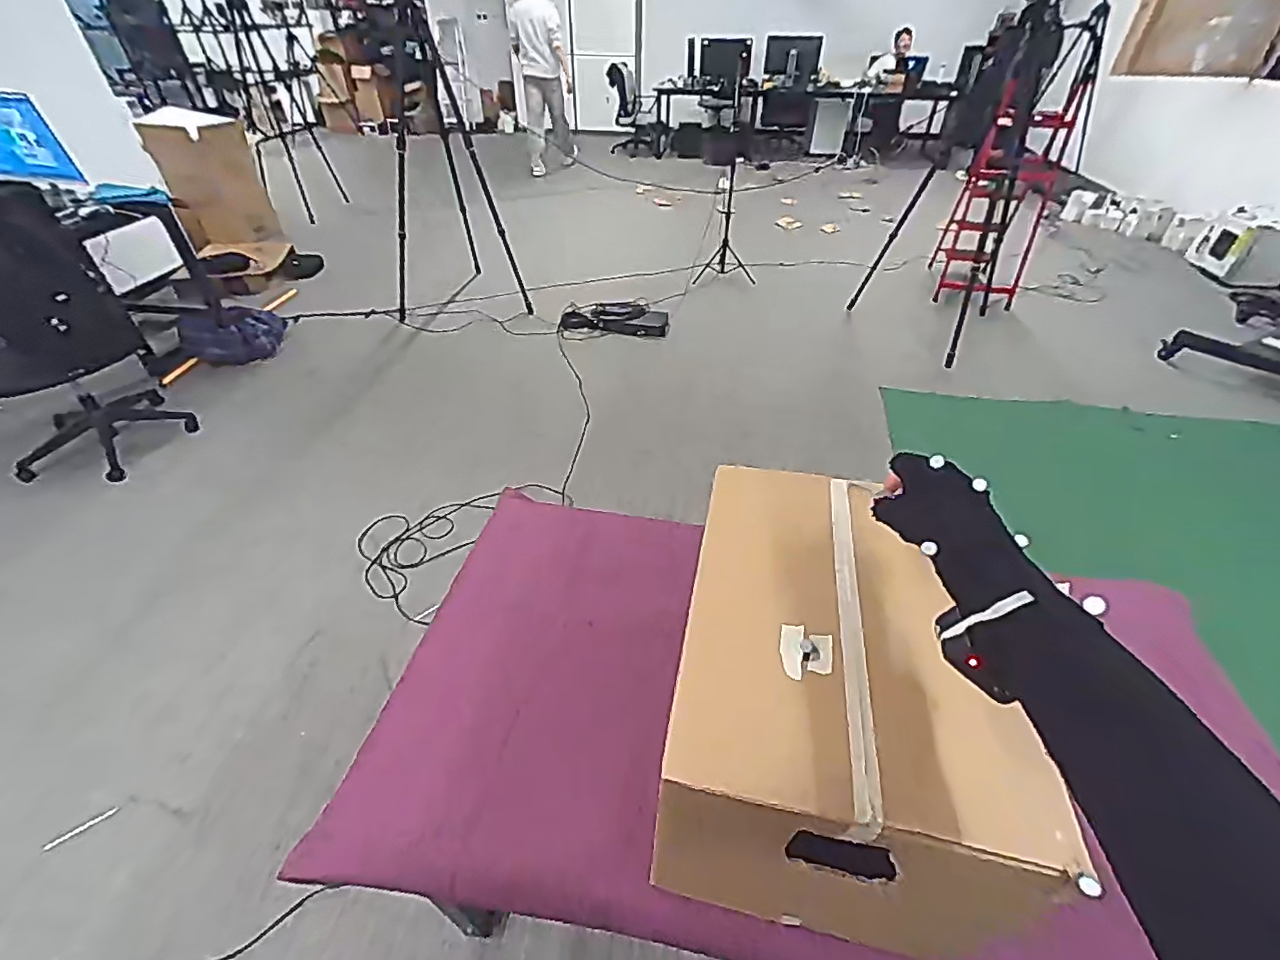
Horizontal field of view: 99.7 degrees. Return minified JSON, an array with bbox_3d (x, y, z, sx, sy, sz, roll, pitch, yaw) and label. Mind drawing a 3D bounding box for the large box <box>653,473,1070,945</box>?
[{"bbox_3d":[0.205,0.251,0.662,0.320,0.320,0.408,9,42,9],"label":"large box"}]
